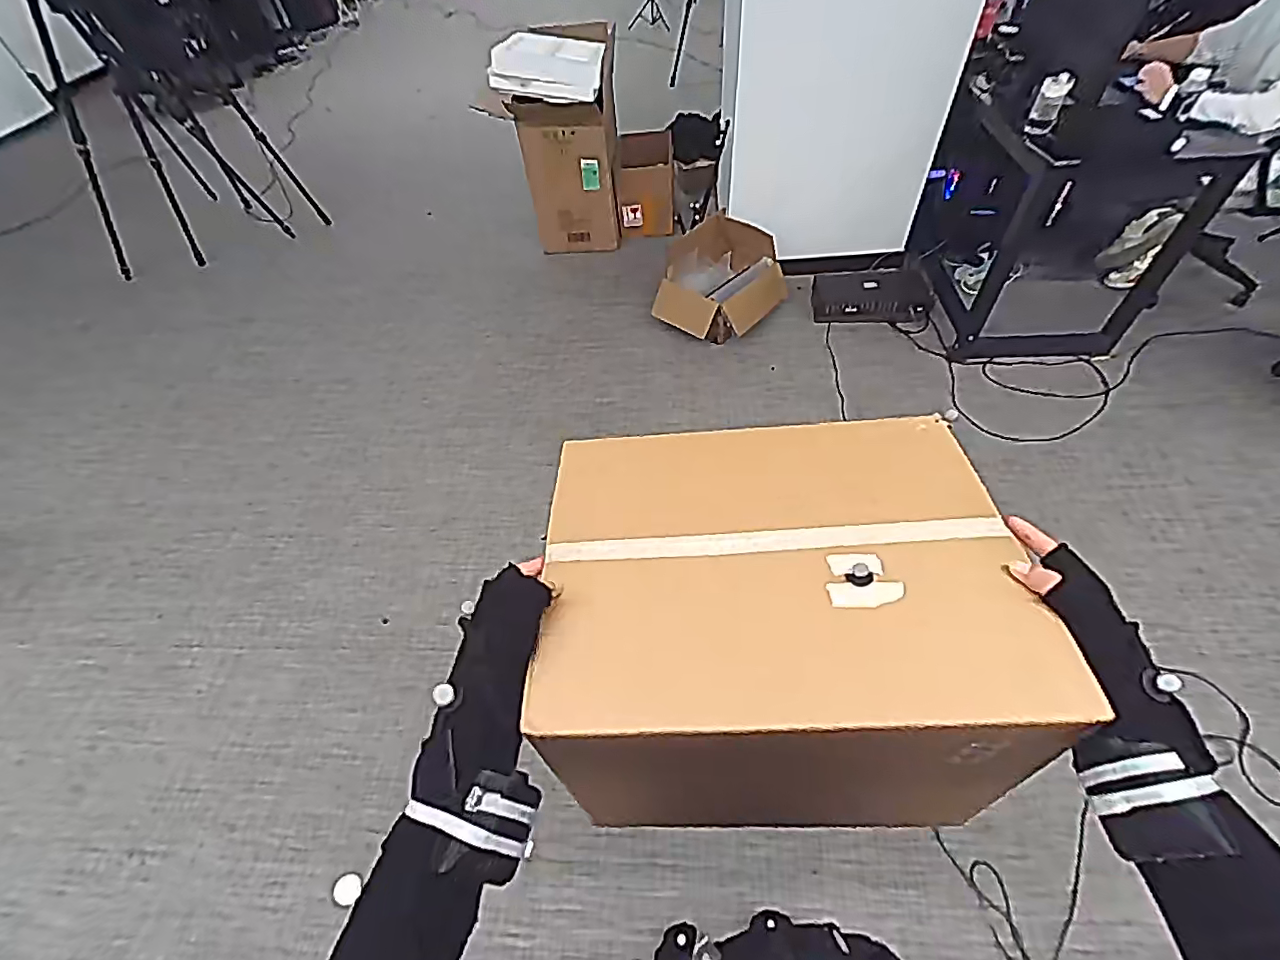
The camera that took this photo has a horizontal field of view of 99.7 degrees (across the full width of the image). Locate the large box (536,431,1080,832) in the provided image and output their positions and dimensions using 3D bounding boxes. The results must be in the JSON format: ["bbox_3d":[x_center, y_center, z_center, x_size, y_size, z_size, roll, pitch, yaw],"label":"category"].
[{"bbox_3d":[0.132,0.174,0.604,0.408,0.320,0.320,-4,46,5],"label":"large box"}]
